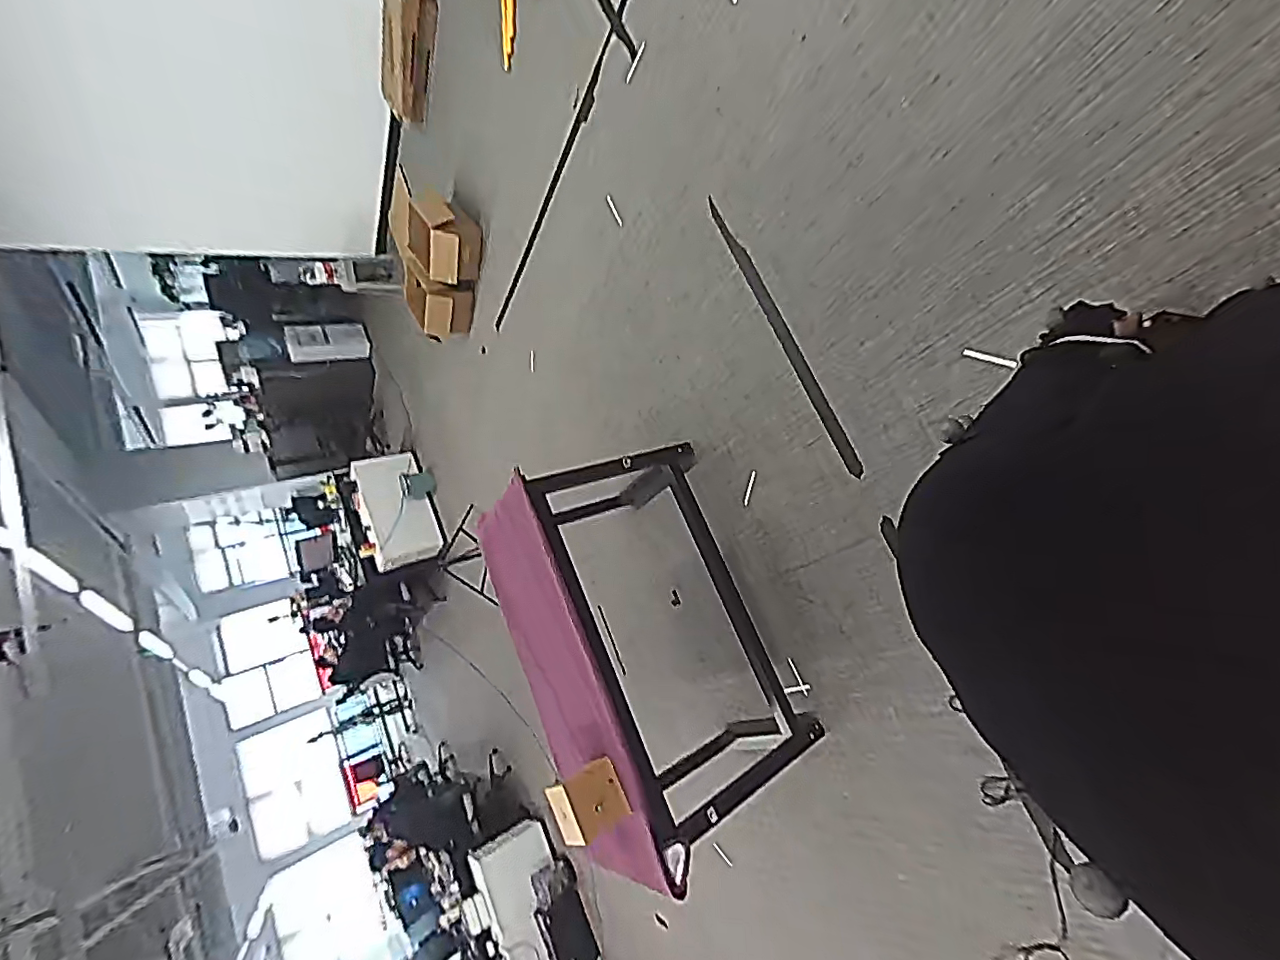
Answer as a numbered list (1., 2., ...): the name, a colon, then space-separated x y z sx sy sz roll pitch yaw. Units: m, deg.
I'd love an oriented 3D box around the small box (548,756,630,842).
1. small box: -0.150 0.954 1.624 0.168 0.176 0.179 62 144 19
